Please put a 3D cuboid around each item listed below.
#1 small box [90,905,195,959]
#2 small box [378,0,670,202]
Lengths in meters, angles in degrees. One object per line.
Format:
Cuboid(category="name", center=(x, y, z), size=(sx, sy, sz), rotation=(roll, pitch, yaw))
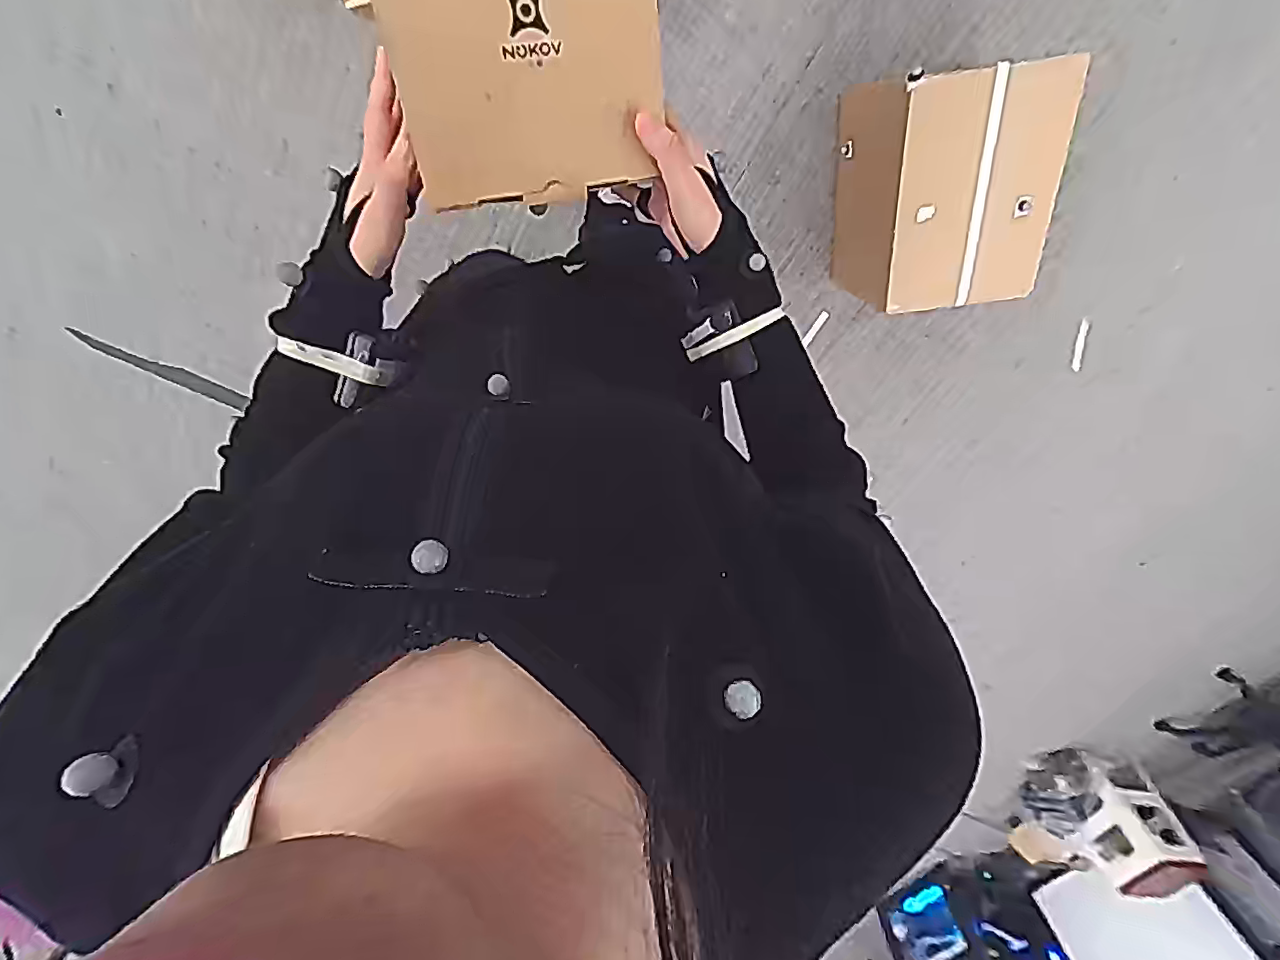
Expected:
Cuboid(category="small box", center=(-1.233, 1.179, 1.316), size=(0.168, 0.176, 0.179), rotation=(26, 115, -20))
Cuboid(category="small box", center=(-0.088, -0.309, 0.382), size=(0.168, 0.176, 0.179), rotation=(-16, 123, -13))
